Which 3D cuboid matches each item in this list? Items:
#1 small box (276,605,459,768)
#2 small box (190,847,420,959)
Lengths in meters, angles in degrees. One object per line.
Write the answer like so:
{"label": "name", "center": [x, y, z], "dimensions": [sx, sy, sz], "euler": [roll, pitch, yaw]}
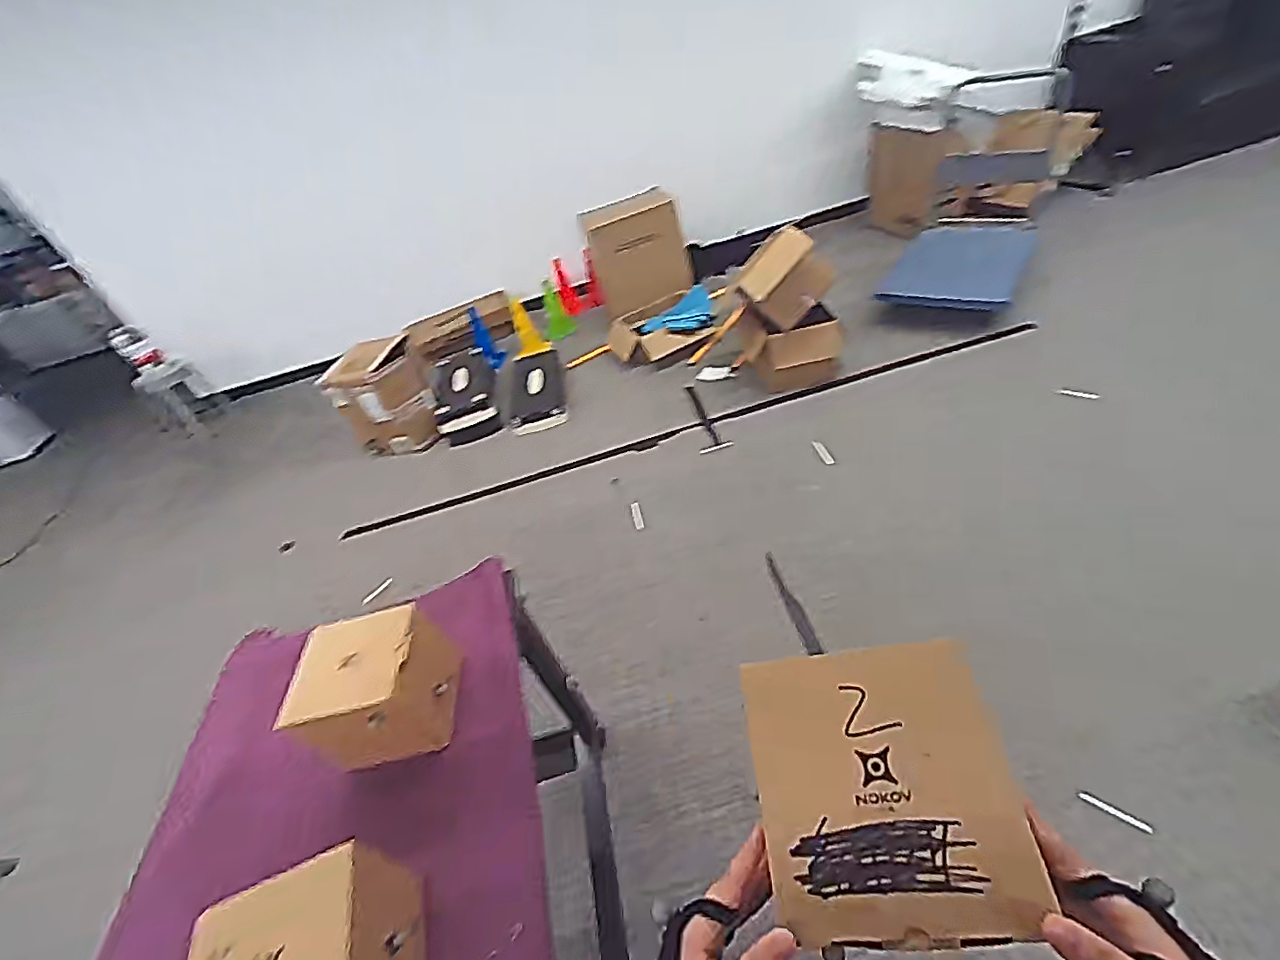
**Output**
{"label": "small box", "center": [-0.415, 0.331, 0.857], "dimensions": [0.179, 0.176, 0.168], "euler": [-15, 41, 4]}
{"label": "small box", "center": [-0.359, 0.551, 0.597], "dimensions": [0.179, 0.176, 0.168], "euler": [-24, 41, -7]}
